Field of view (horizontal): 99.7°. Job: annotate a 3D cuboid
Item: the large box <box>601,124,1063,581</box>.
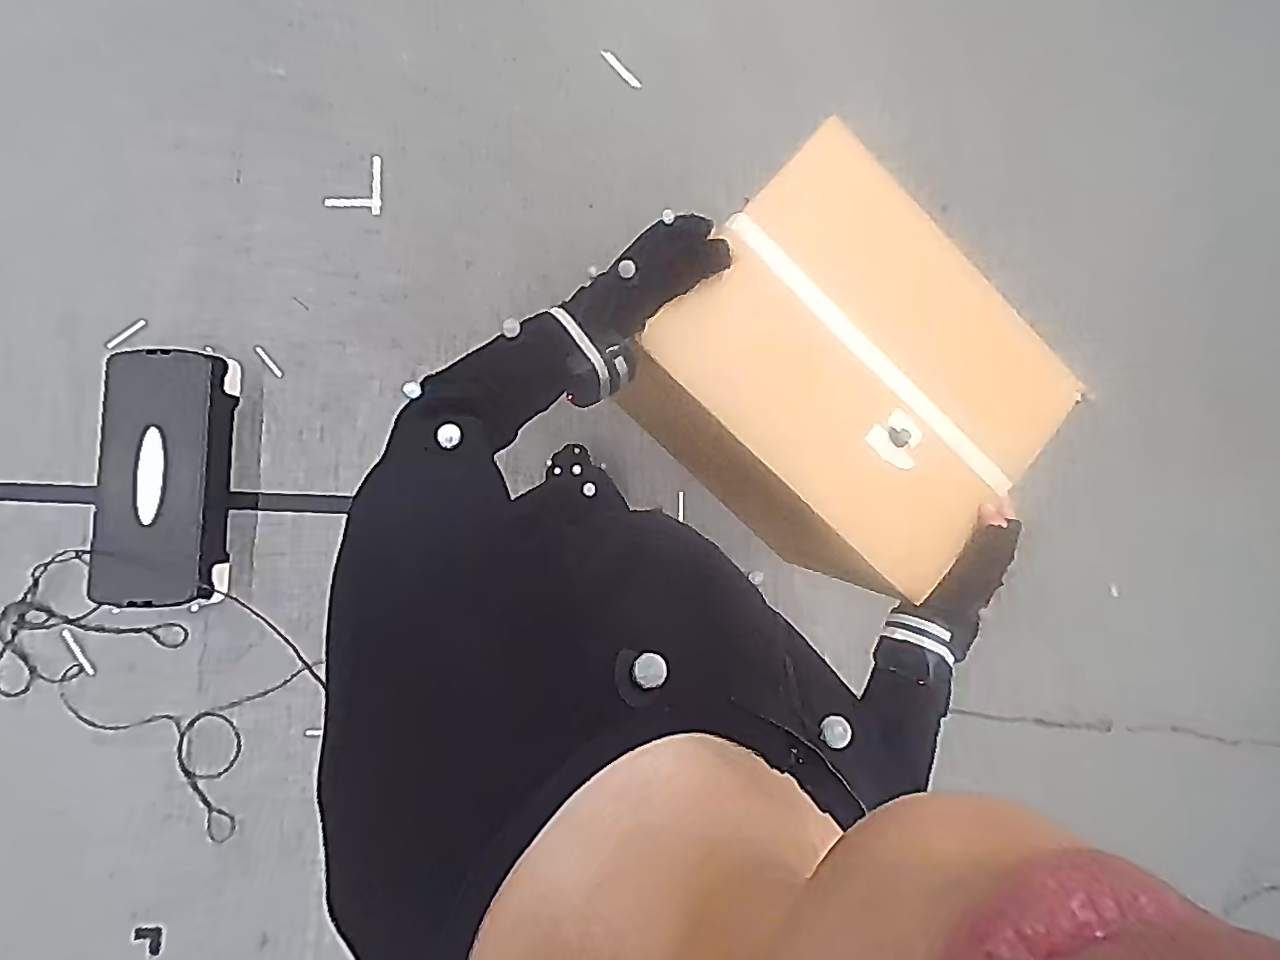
[{"bbox_3d":[0.206,-0.131,0.711,0.408,0.320,0.320,41,84,-7],"label":"large box"}]
